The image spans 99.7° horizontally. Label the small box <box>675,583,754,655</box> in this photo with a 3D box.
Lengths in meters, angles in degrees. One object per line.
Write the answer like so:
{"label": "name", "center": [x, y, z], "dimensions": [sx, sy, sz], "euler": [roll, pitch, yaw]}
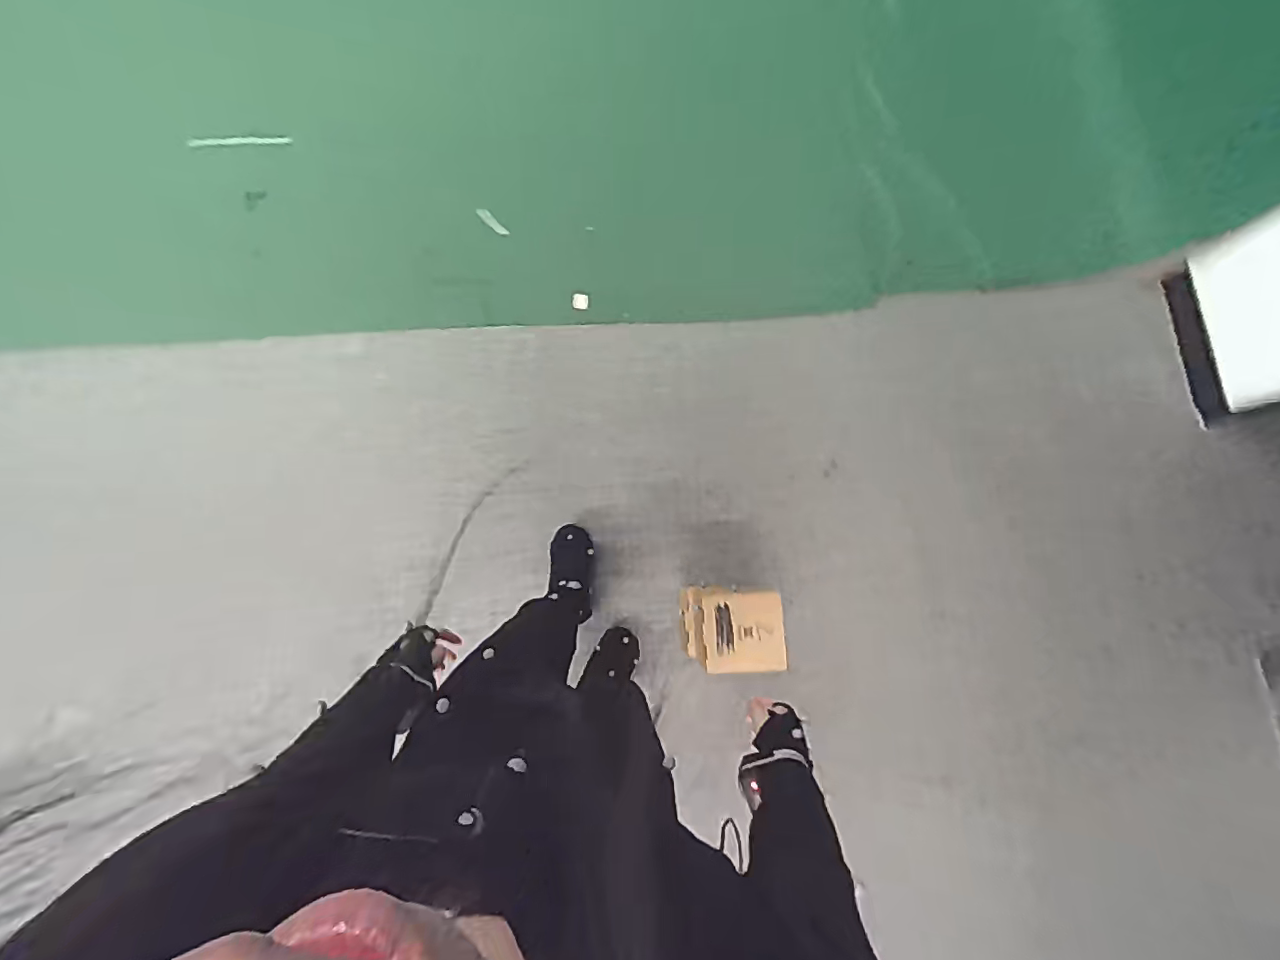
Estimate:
{"label": "small box", "center": [0.189, 0.357, 1.411], "dimensions": [0.179, 0.176, 0.168], "euler": [2, 80, -2]}
